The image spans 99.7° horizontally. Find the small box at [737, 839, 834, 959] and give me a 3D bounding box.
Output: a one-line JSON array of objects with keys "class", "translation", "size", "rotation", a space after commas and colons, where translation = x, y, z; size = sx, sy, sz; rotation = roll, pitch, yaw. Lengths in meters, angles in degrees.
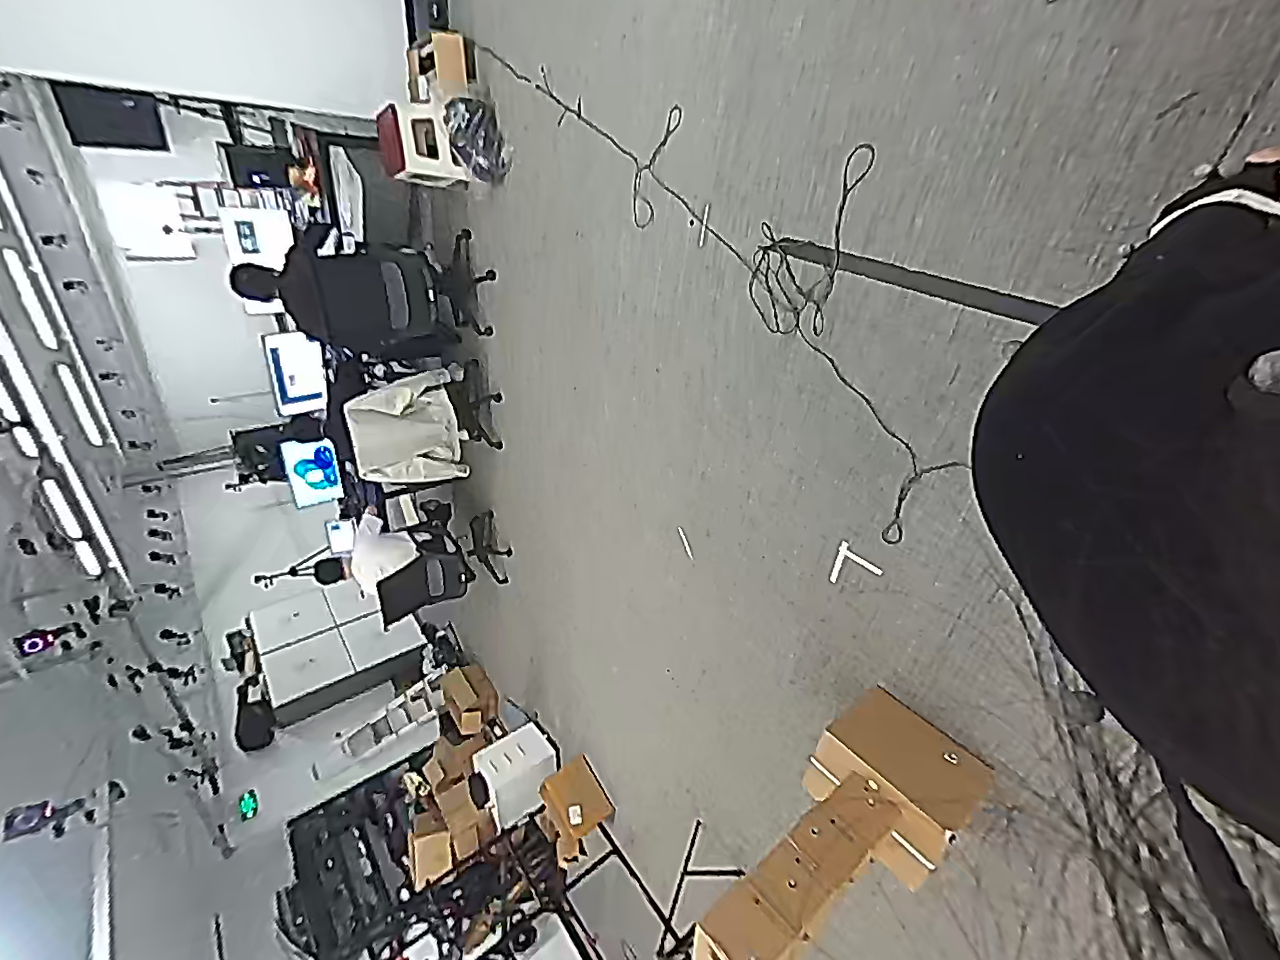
[{"class": "small box", "translation": [0.376, 1.082, 1.392], "size": [0.168, 0.176, 0.179], "rotation": [30, 127, 45]}]

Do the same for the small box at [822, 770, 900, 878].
[{"class": "small box", "translation": [0.630, 1.001, 1.581], "size": [0.168, 0.176, 0.179], "rotation": [34, 129, 41]}]

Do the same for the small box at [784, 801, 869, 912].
[{"class": "small box", "translation": [0.502, 1.035, 1.488], "size": [0.168, 0.176, 0.179], "rotation": [34, 131, 42]}]
